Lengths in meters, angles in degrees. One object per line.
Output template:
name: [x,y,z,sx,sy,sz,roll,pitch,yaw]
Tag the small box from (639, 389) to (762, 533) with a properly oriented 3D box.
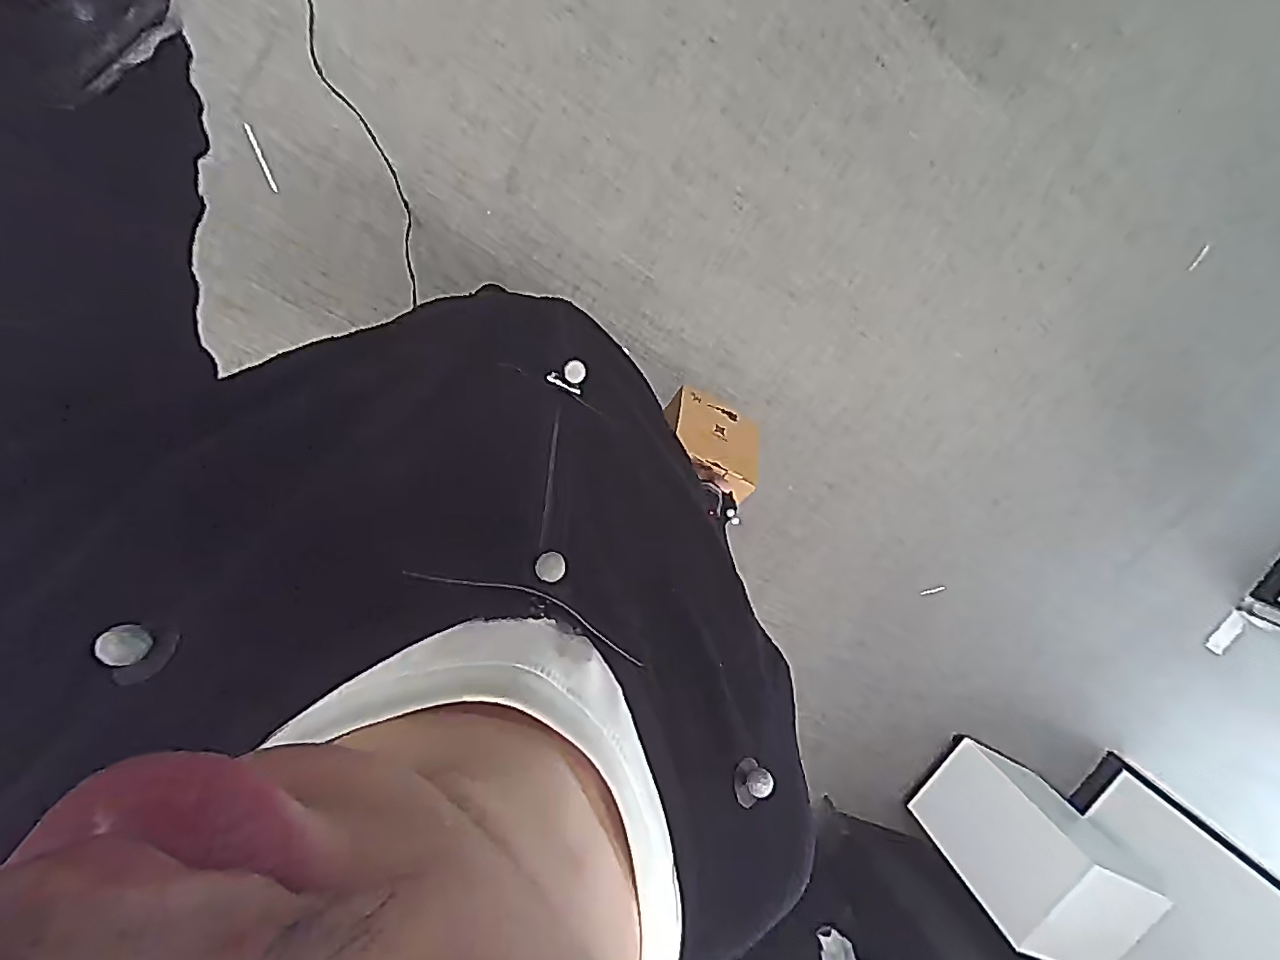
small box: [0.109,-0.028,1.004,0.168,0.179,0.176,23,134,-14]
